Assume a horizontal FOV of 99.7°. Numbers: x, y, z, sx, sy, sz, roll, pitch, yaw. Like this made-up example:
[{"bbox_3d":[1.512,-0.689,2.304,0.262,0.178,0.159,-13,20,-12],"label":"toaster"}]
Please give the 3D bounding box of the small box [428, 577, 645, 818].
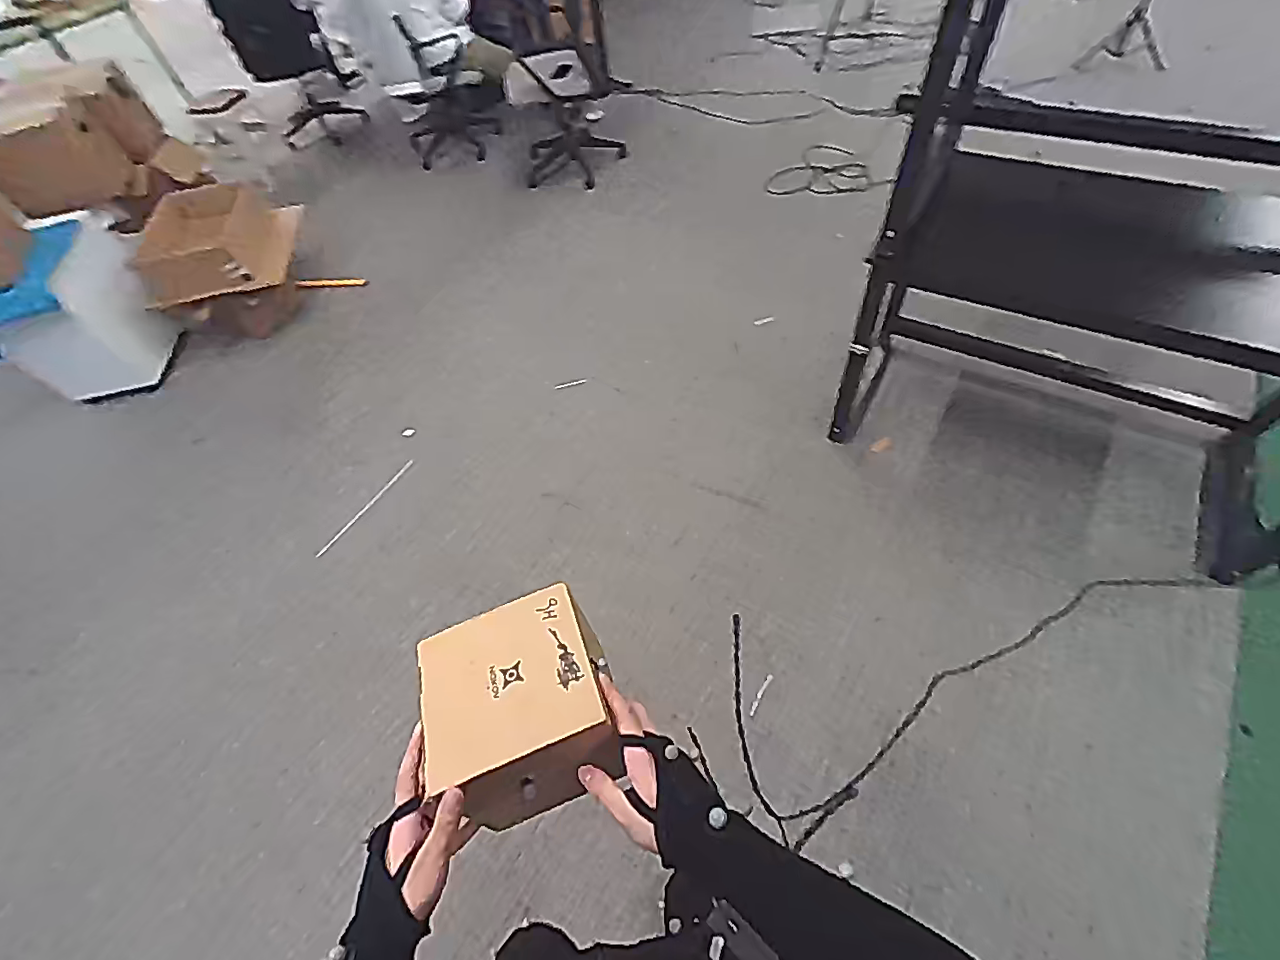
[{"bbox_3d":[-0.112,0.245,0.602,0.179,0.176,0.168,-22,47,-4],"label":"small box"}]
